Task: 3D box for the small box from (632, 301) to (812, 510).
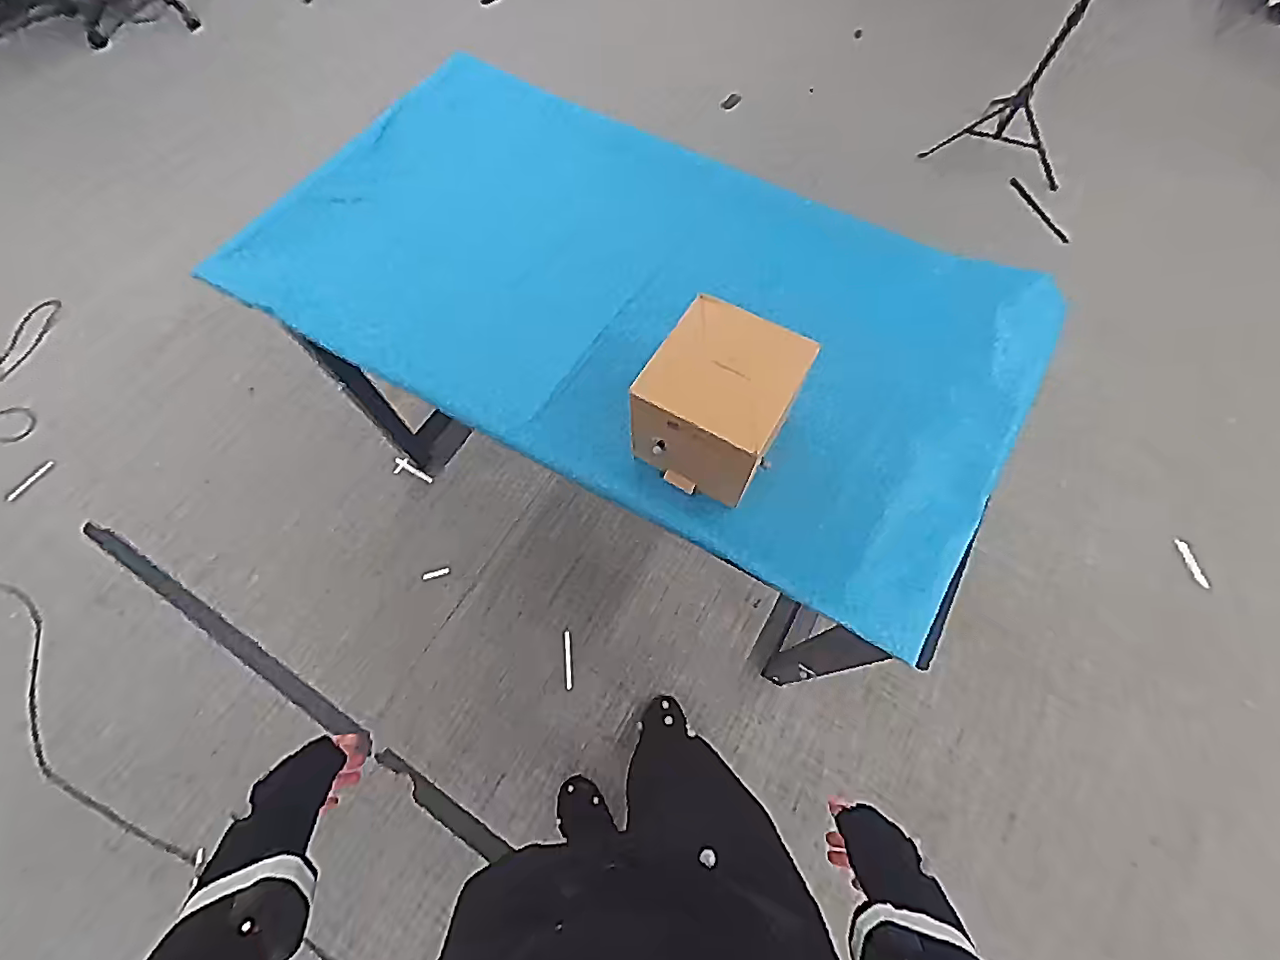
[{"bbox_3d":[0.099,-0.095,0.707,0.168,0.176,0.179,29,69,11],"label":"small box"}]
